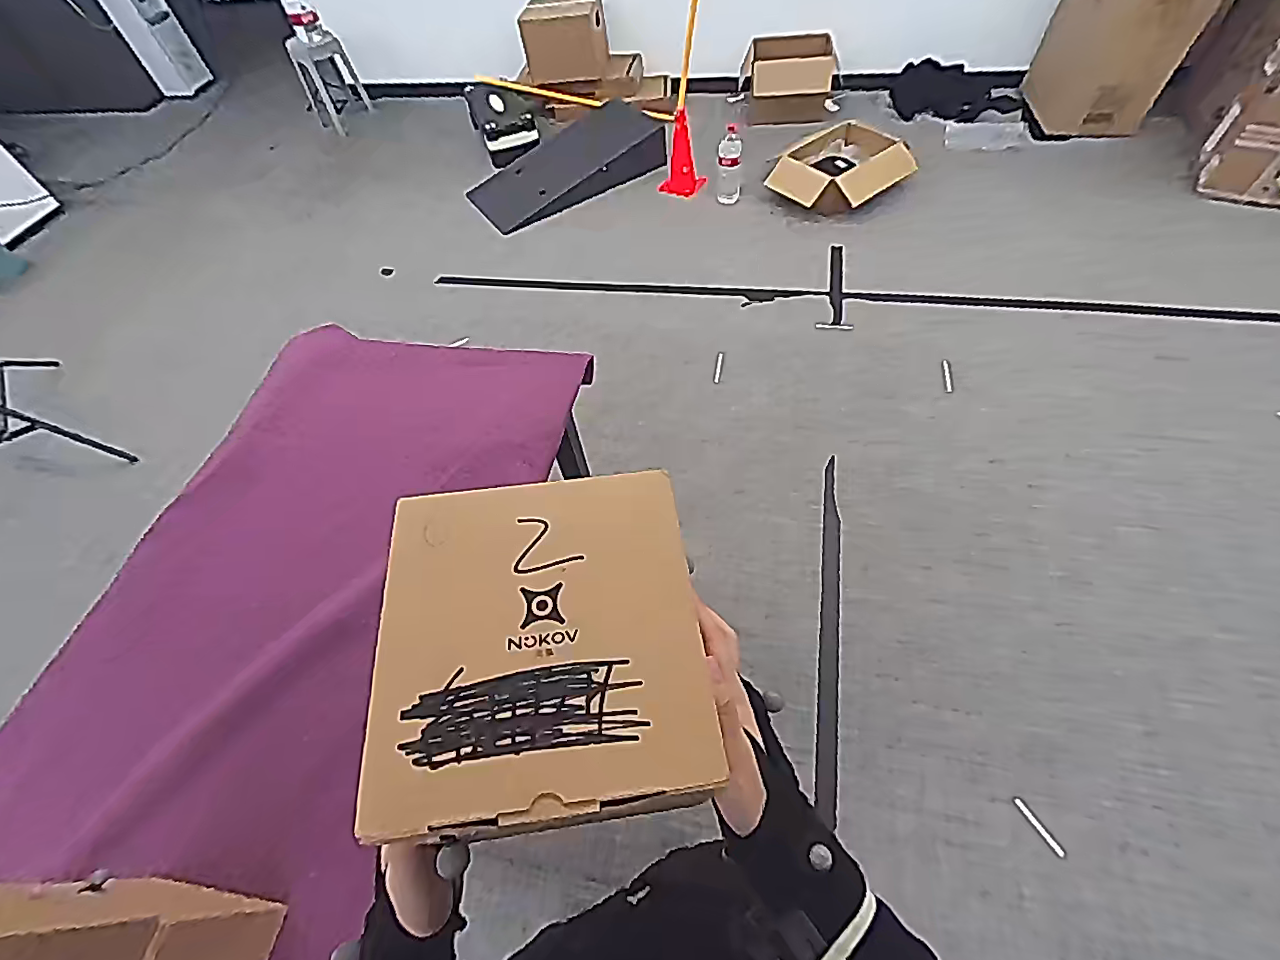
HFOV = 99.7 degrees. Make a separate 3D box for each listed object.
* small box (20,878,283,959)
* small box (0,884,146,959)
[{"bbox_3d":[-0.498,0.491,0.510,0.179,0.176,0.168,4,57,9],"label":"small box"},{"bbox_3d":[-0.514,0.402,0.376,0.168,0.176,0.179,2,57,10],"label":"small box"}]
